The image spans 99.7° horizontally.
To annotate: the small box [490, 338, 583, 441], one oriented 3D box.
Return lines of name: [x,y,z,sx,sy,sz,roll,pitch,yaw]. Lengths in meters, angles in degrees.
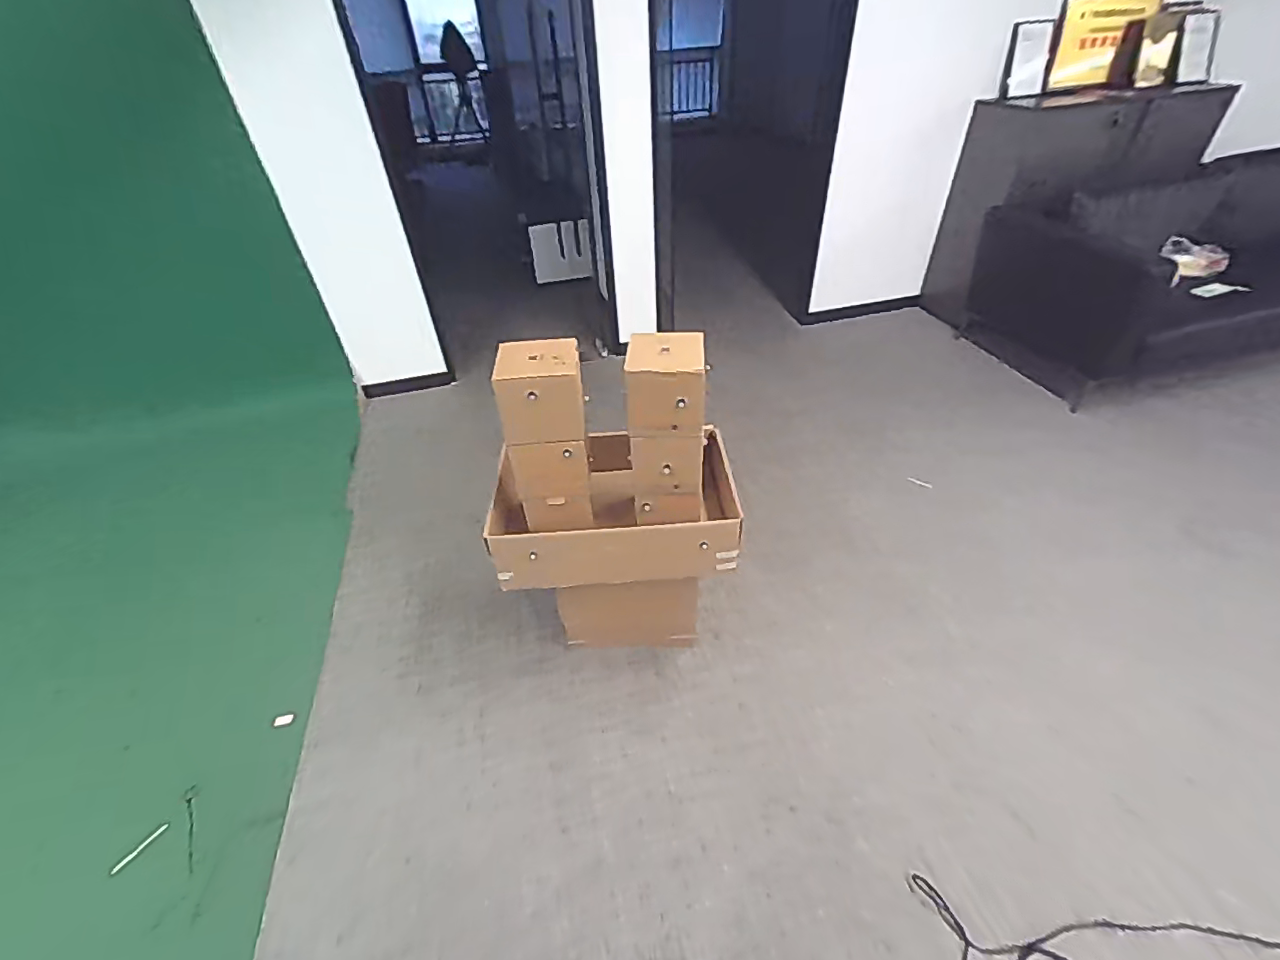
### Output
small box: [-0.223,-0.200,1.206,0.179,0.176,0.168,-4,41,-4]

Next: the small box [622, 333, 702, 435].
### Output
small box: [0.054,-0.213,1.205,0.168,0.176,0.179,2,40,4]

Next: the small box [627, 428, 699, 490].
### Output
small box: [0.060,-0.089,1.313,0.168,0.176,0.179,1,42,3]

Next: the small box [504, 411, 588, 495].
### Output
small box: [-0.221,-0.077,1.316,0.179,0.176,0.168,-3,41,-3]
